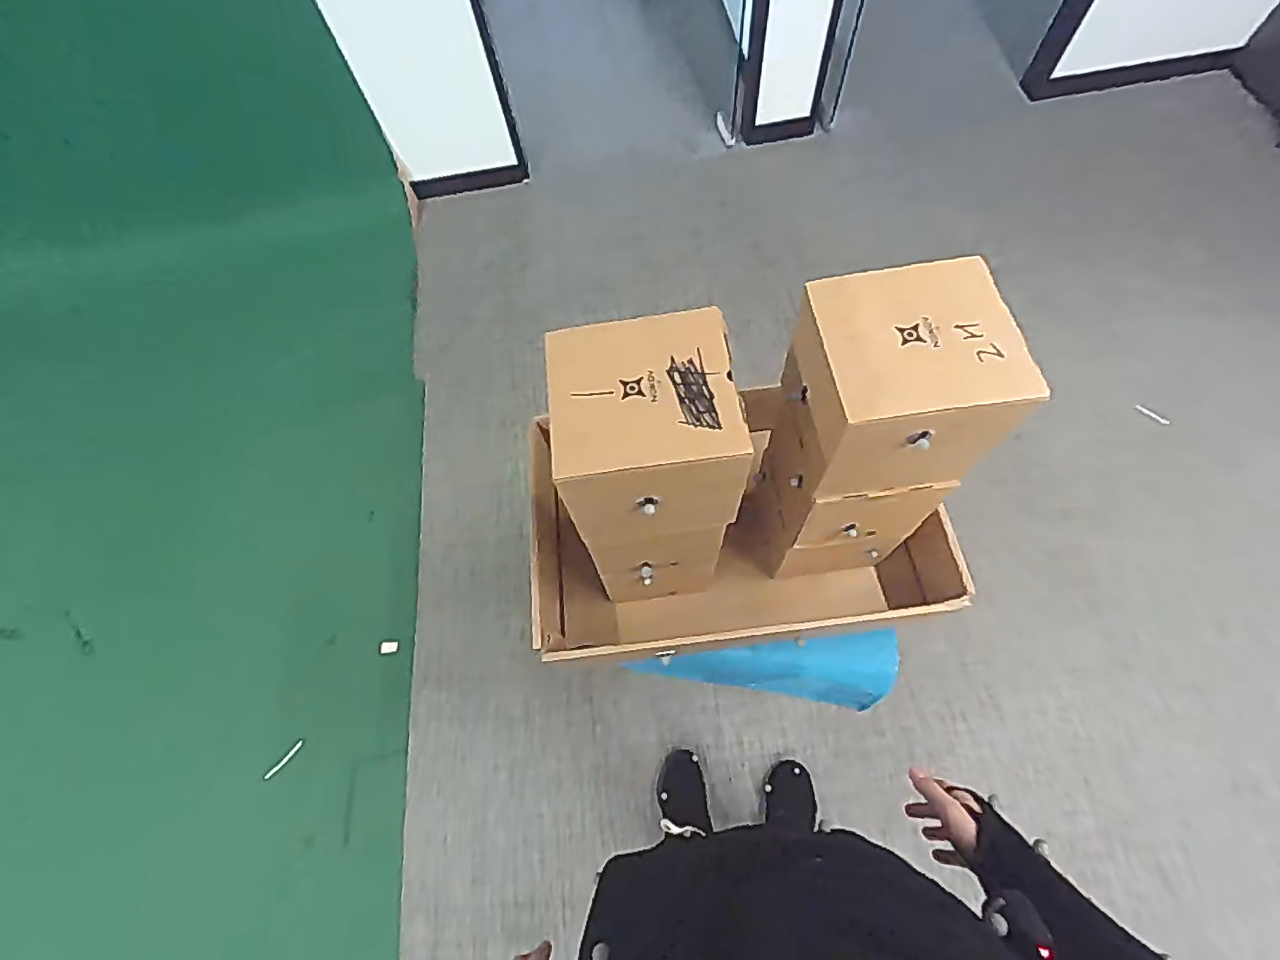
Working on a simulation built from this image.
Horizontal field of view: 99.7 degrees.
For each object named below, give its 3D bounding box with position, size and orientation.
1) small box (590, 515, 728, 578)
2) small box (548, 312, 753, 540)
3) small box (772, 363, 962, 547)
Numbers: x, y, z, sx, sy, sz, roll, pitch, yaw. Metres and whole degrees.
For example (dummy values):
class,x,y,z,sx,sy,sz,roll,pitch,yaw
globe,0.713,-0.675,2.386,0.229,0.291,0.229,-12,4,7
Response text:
class,x,y,z,sx,sy,sz,roll,pitch,yaw
small box,0.016,0.018,0.719,0.168,0.176,0.179,-7,65,1
small box,0.009,-0.047,0.569,0.179,0.176,0.168,-8,64,2
small box,0.280,-0.026,0.716,0.168,0.176,0.179,-7,64,3
